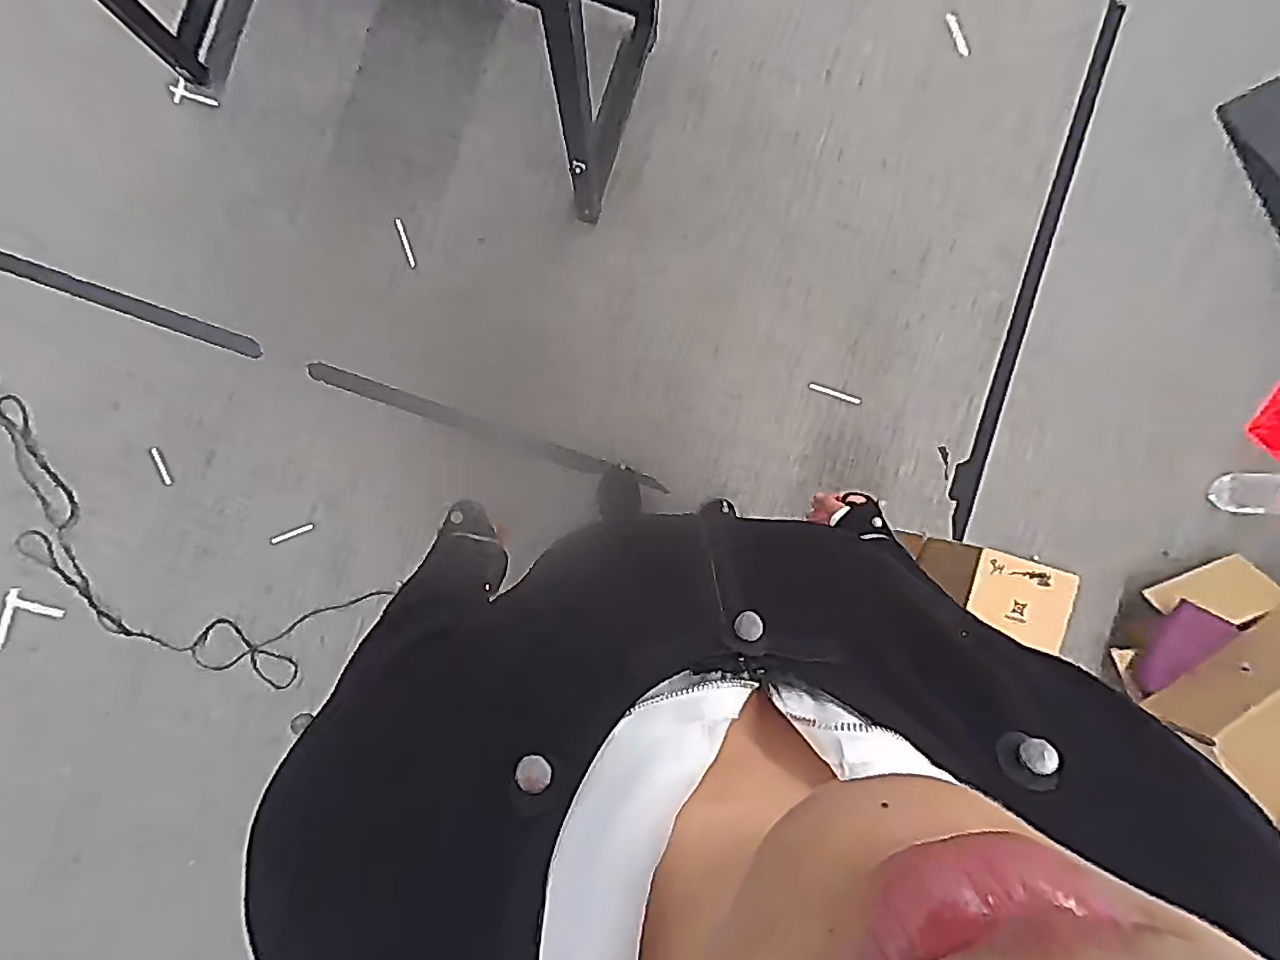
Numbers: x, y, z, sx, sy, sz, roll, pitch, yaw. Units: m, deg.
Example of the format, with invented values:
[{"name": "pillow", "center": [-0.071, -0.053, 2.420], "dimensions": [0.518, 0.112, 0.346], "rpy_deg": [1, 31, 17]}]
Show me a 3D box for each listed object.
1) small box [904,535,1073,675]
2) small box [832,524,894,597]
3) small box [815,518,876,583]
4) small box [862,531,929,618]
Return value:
[{"name": "small box", "center": [0.598, 0.210, 0.955], "dimensions": [0.168, 0.176, 0.179], "rpy_deg": [18, 91, -1]}, {"name": "small box", "center": [0.587, 0.206, 1.281], "dimensions": [0.179, 0.176, 0.168], "rpy_deg": [18, 89, 0]}, {"name": "small box", "center": [0.589, 0.207, 1.445], "dimensions": [0.168, 0.176, 0.179], "rpy_deg": [19, 89, -1]}, {"name": "small box", "center": [0.592, 0.208, 1.119], "dimensions": [0.179, 0.176, 0.168], "rpy_deg": [18, 90, -2]}]
